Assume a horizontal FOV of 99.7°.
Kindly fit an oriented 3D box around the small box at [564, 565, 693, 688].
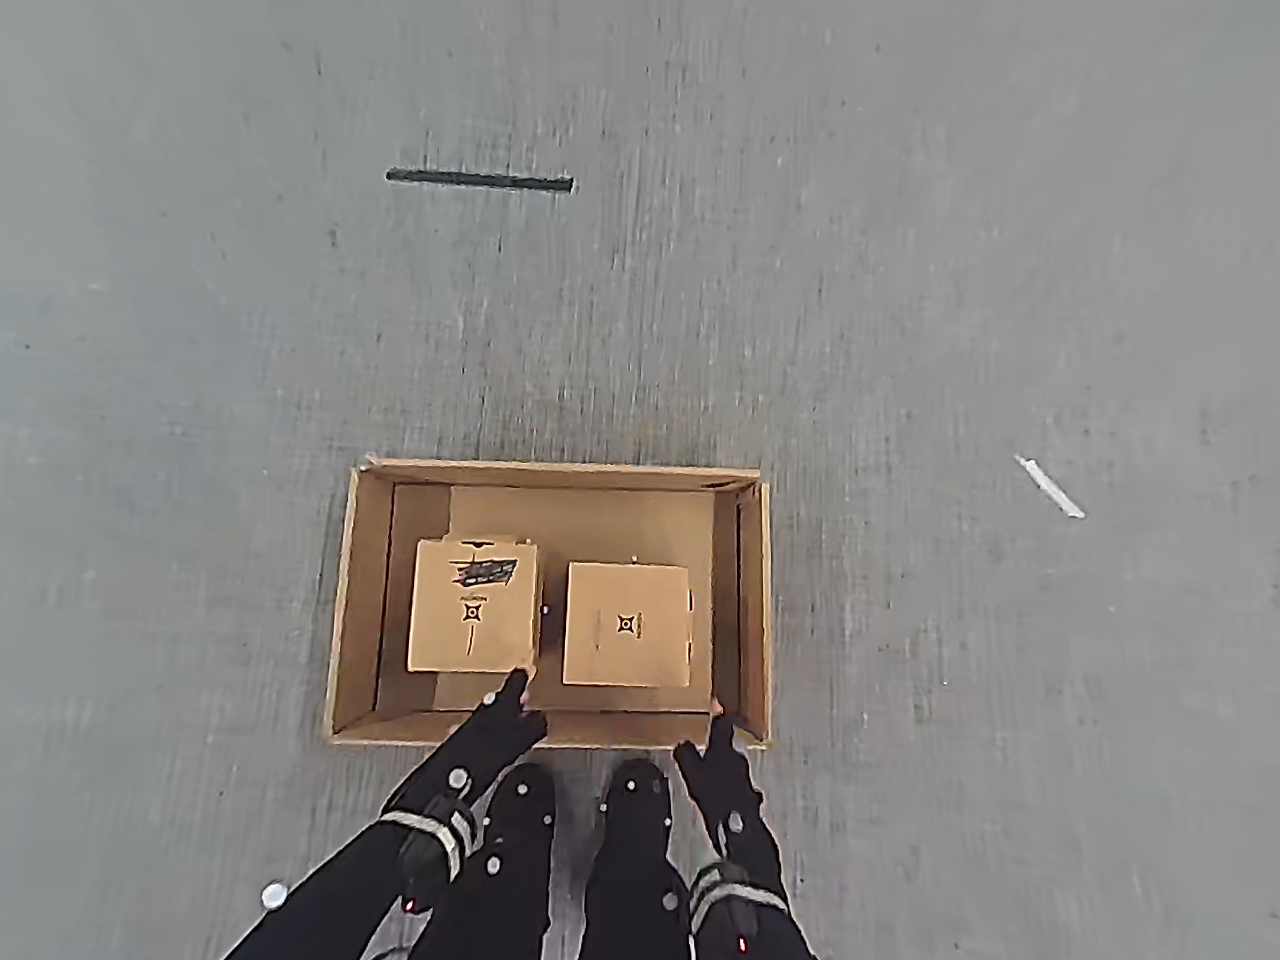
[{"bbox_3d":[-0.017,0.216,0.831,0.179,0.176,0.168,1,79,-1],"label":"small box"}]
